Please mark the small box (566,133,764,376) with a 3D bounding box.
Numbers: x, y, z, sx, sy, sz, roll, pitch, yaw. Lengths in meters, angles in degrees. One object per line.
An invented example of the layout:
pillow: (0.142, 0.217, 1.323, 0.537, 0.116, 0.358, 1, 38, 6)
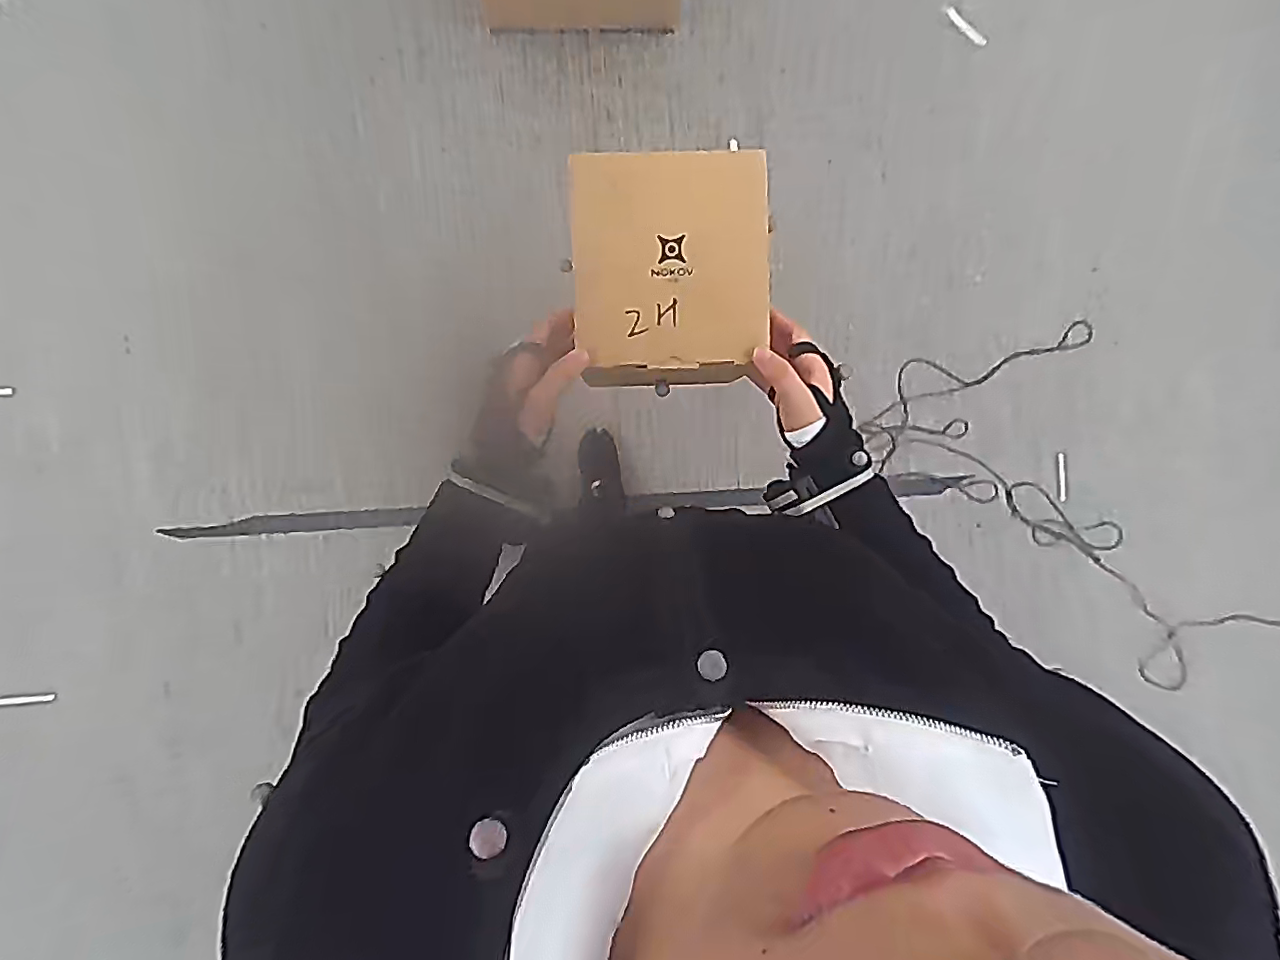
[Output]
small box: (0.018, -0.201, 0.527, 0.168, 0.176, 0.179, -2, 94, -1)
